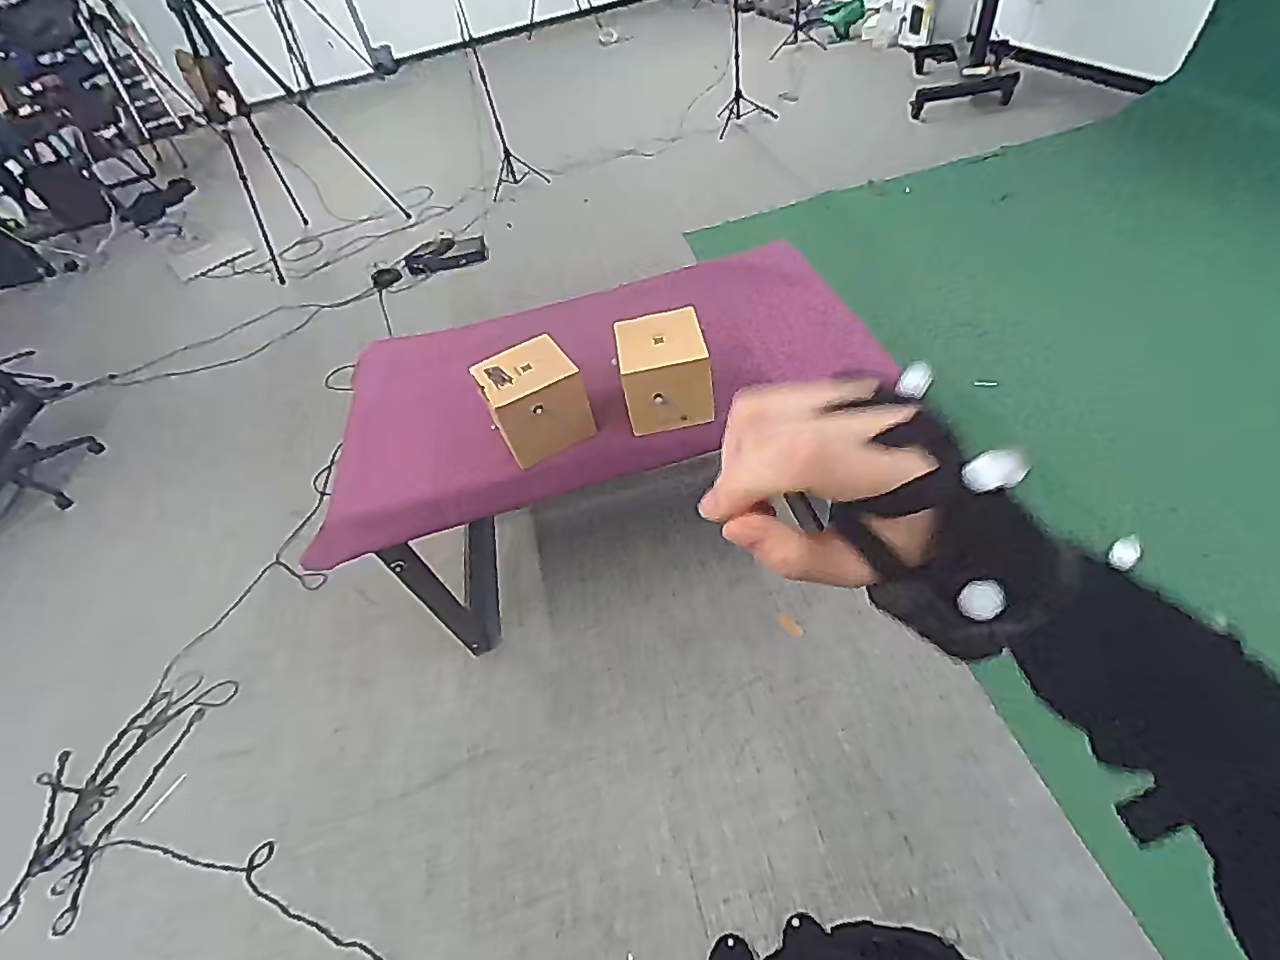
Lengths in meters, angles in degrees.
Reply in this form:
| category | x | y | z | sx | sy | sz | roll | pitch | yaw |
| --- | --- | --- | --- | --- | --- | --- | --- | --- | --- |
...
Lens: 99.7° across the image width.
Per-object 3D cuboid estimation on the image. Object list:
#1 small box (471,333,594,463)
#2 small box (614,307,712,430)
| category | x | y | z | sx | sy | sz | roll | pitch | yaw |
| --- | --- | --- | --- | --- | --- | --- | --- | --- | --- |
| small box | -0.214 | -0.164 | 1.102 | 0.179 | 0.176 | 0.168 | -27 | 49 | -13 |
| small box | 0.049 | -0.219 | 1.098 | 0.168 | 0.176 | 0.179 | -11 | 48 | 3 |
